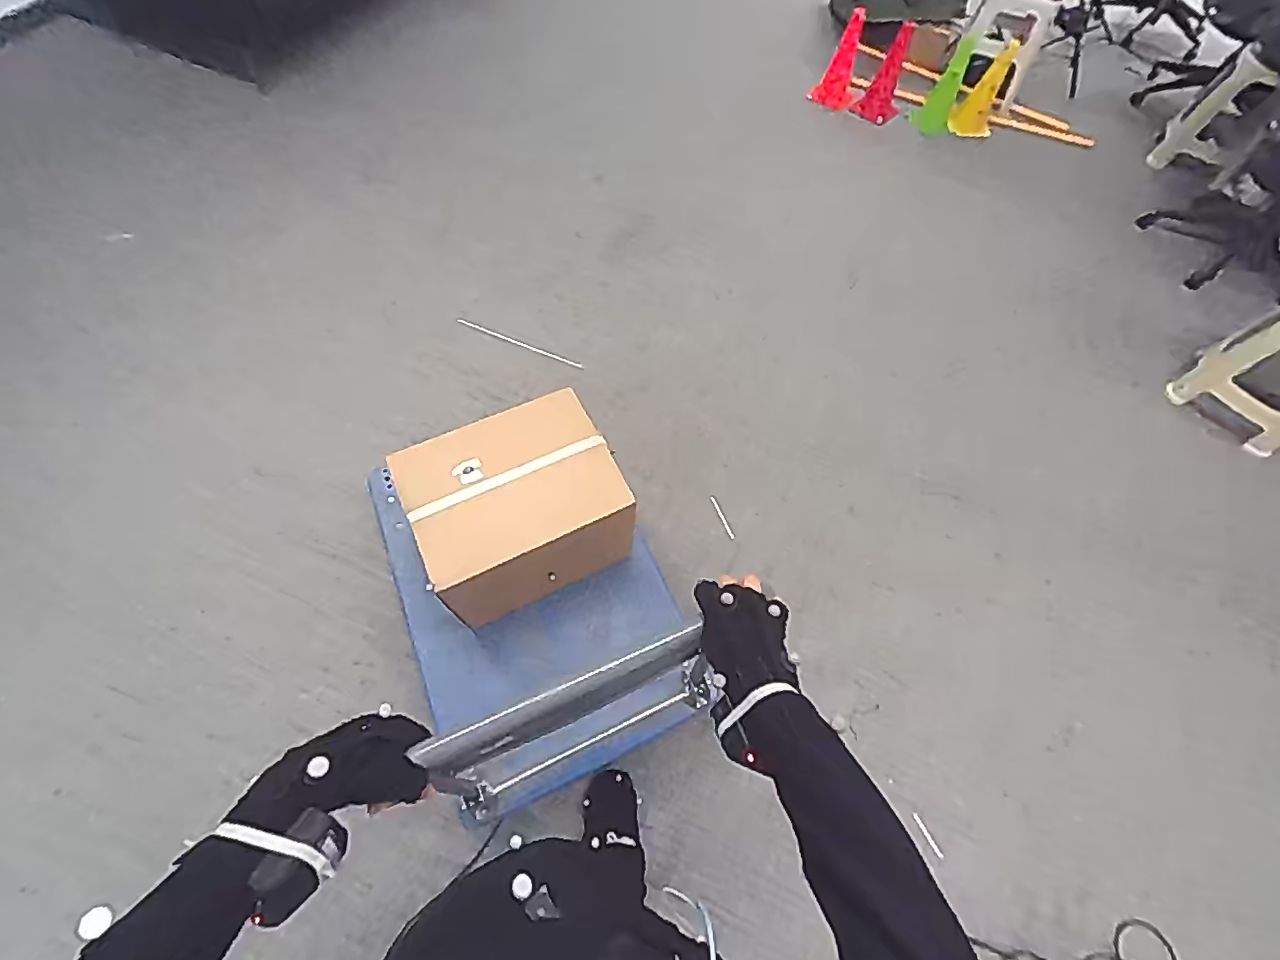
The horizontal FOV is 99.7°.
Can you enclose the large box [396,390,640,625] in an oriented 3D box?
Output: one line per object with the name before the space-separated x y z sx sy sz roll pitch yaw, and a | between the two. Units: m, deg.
large box | -0.250 0.068 1.201 0.408 0.320 0.320 -24 66 -15
